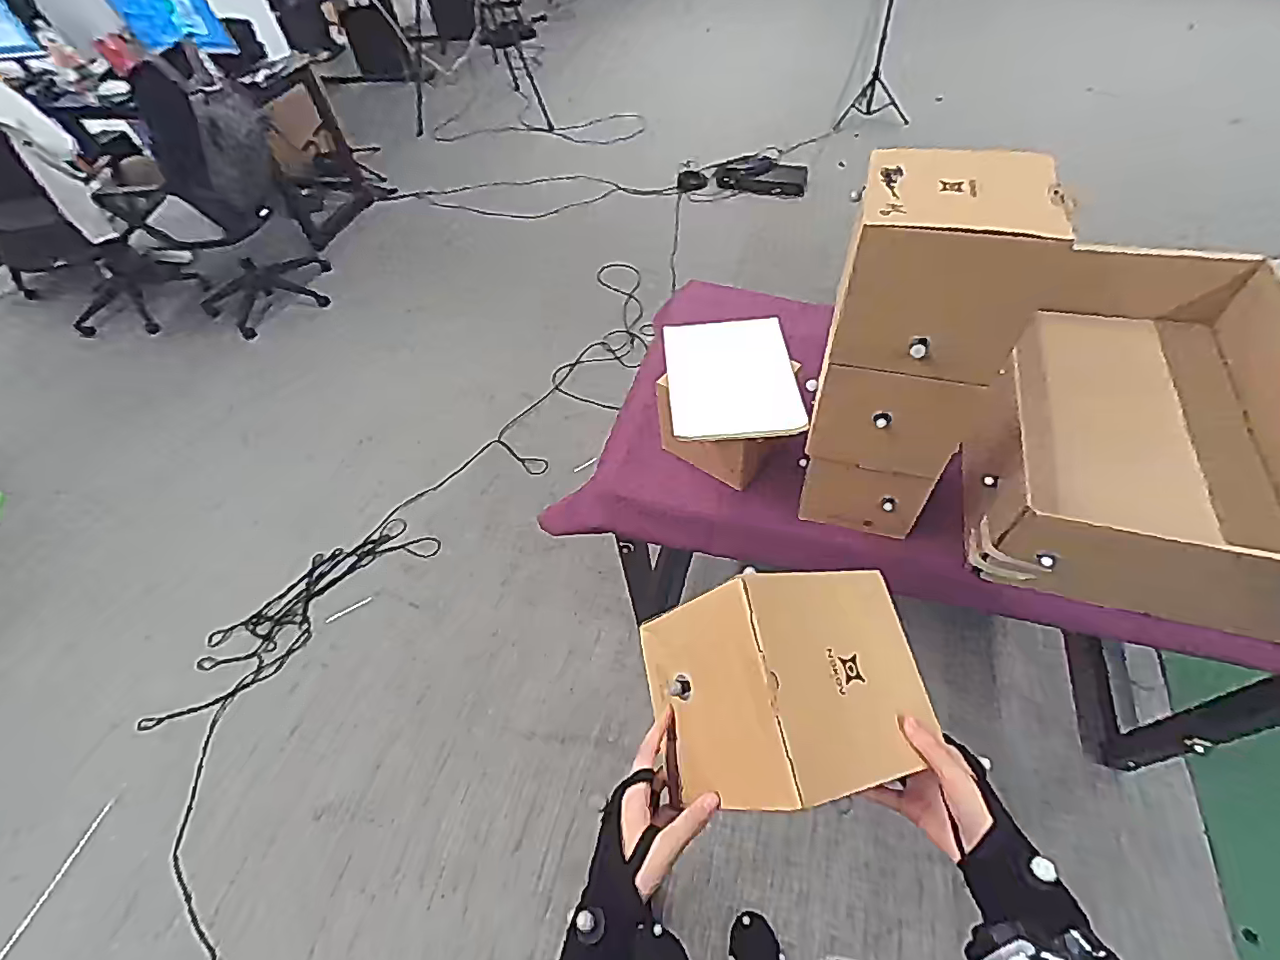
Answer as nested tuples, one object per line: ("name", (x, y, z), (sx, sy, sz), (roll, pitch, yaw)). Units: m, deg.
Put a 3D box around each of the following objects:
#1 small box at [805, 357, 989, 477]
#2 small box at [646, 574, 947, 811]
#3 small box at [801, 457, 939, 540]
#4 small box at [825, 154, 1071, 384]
("small box", (0.330, -0.124, 0.716), (0.179, 0.176, 0.168), (11, 54, 16))
("small box", (0.128, 0.190, 0.496), (0.179, 0.176, 0.168), (5, 61, -30))
("small box", (0.355, -0.030, 0.848), (0.168, 0.176, 0.179), (12, 54, 15))
("small box", (0.315, -0.225, 0.587), (0.179, 0.176, 0.168), (12, 53, 14))
